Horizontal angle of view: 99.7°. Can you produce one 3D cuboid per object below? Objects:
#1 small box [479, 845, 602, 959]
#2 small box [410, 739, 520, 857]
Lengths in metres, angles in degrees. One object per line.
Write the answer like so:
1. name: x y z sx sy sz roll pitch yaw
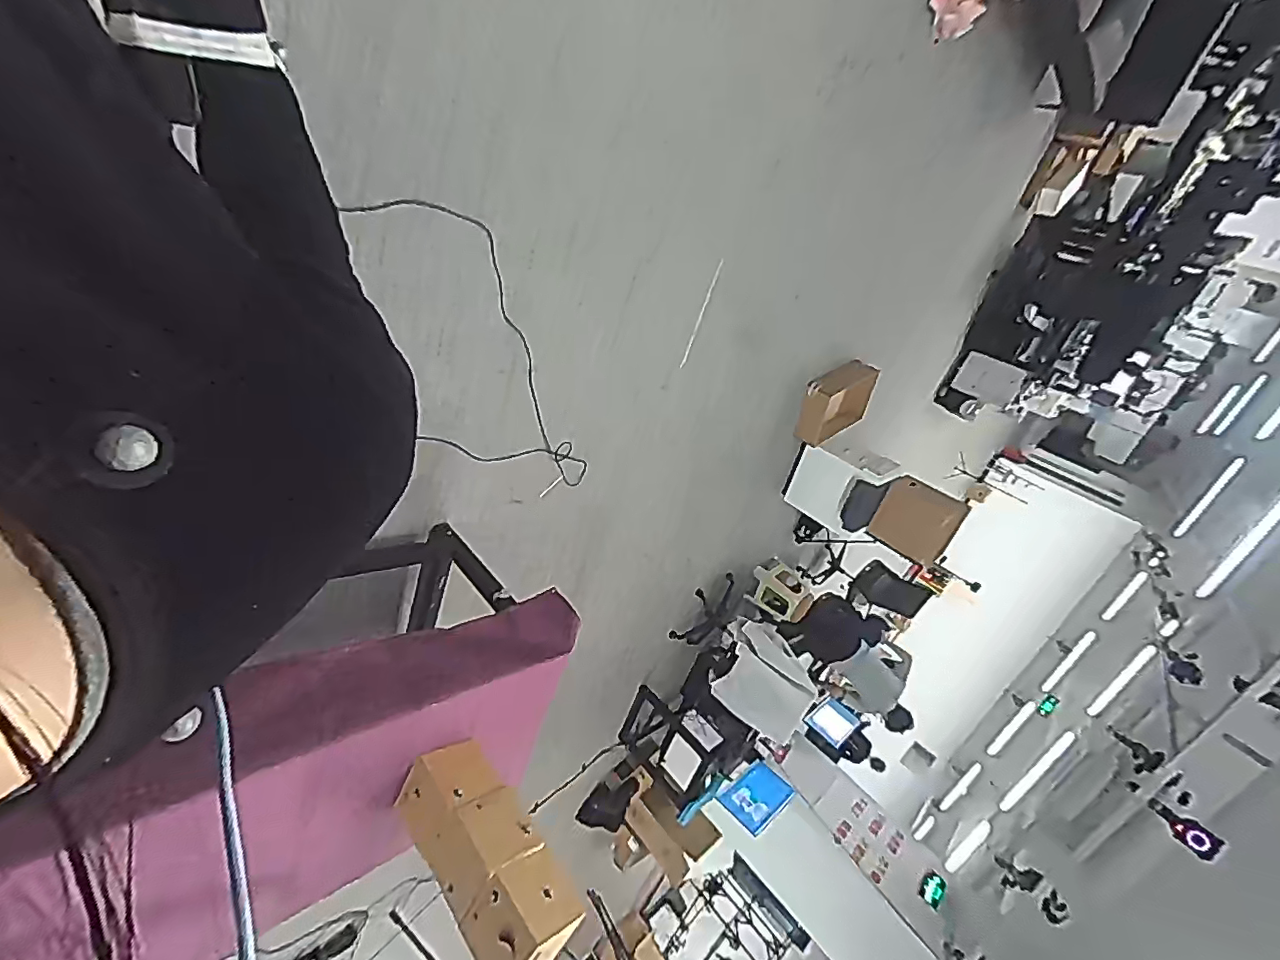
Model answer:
1. small box: -0.225 0.969 1.207 0.168 0.176 0.179 -58 146 7
2. small box: -0.447 0.796 1.378 0.179 0.176 0.168 10 111 -52
